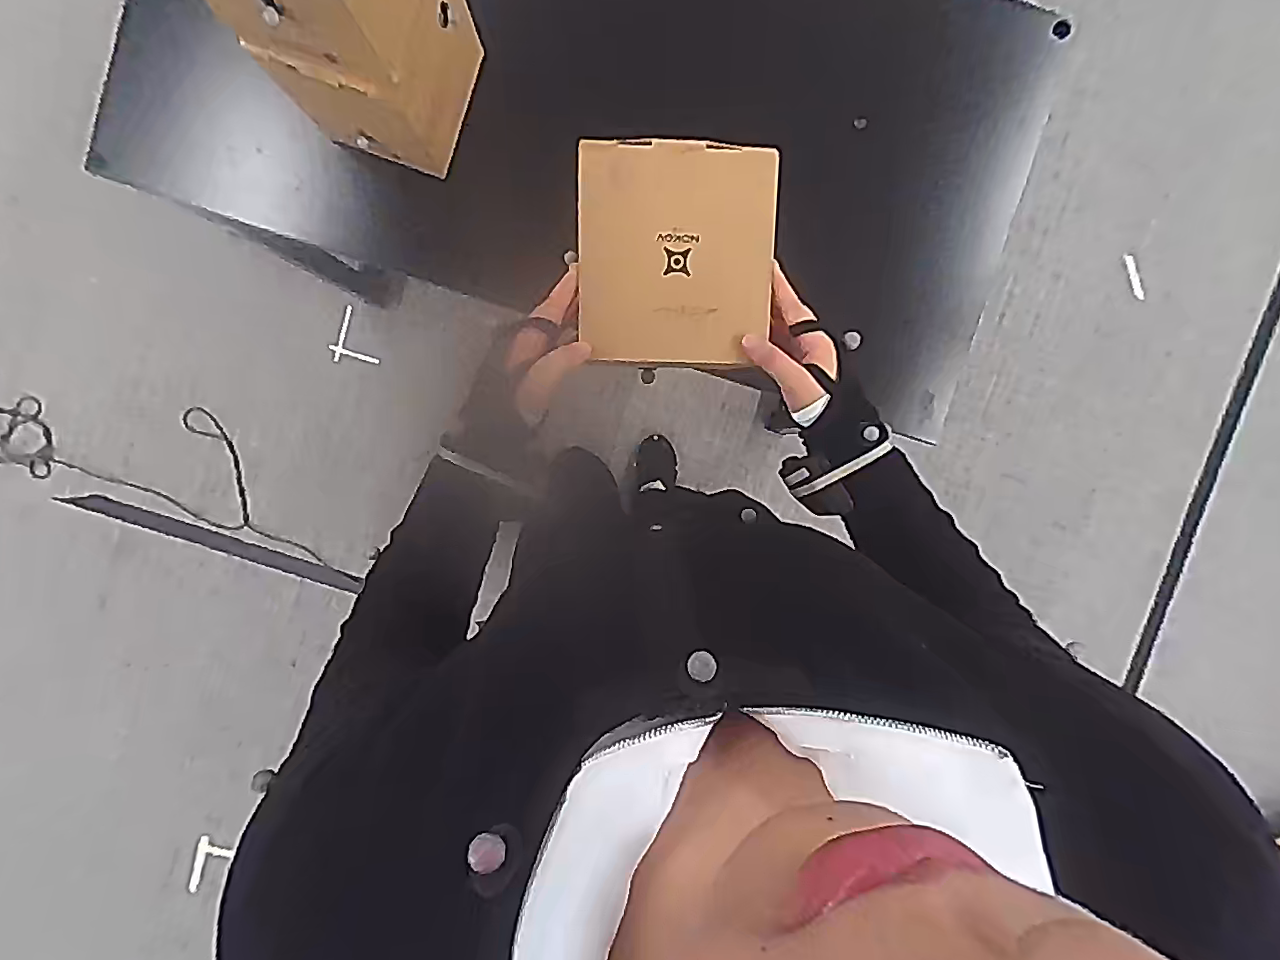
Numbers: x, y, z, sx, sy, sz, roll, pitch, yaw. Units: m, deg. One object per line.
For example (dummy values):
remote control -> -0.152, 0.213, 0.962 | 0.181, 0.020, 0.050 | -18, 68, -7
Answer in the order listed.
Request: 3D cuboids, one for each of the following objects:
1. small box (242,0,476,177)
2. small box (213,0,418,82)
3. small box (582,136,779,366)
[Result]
small box -> -0.308, -0.502, 0.633 | 0.168, 0.176, 0.179 | 19, 93, -3
small box -> -0.301, -0.499, 0.469 | 0.168, 0.176, 0.179 | 16, 94, -3
small box -> 0.028, -0.205, 0.533 | 0.168, 0.176, 0.179 | 0, 101, -3
